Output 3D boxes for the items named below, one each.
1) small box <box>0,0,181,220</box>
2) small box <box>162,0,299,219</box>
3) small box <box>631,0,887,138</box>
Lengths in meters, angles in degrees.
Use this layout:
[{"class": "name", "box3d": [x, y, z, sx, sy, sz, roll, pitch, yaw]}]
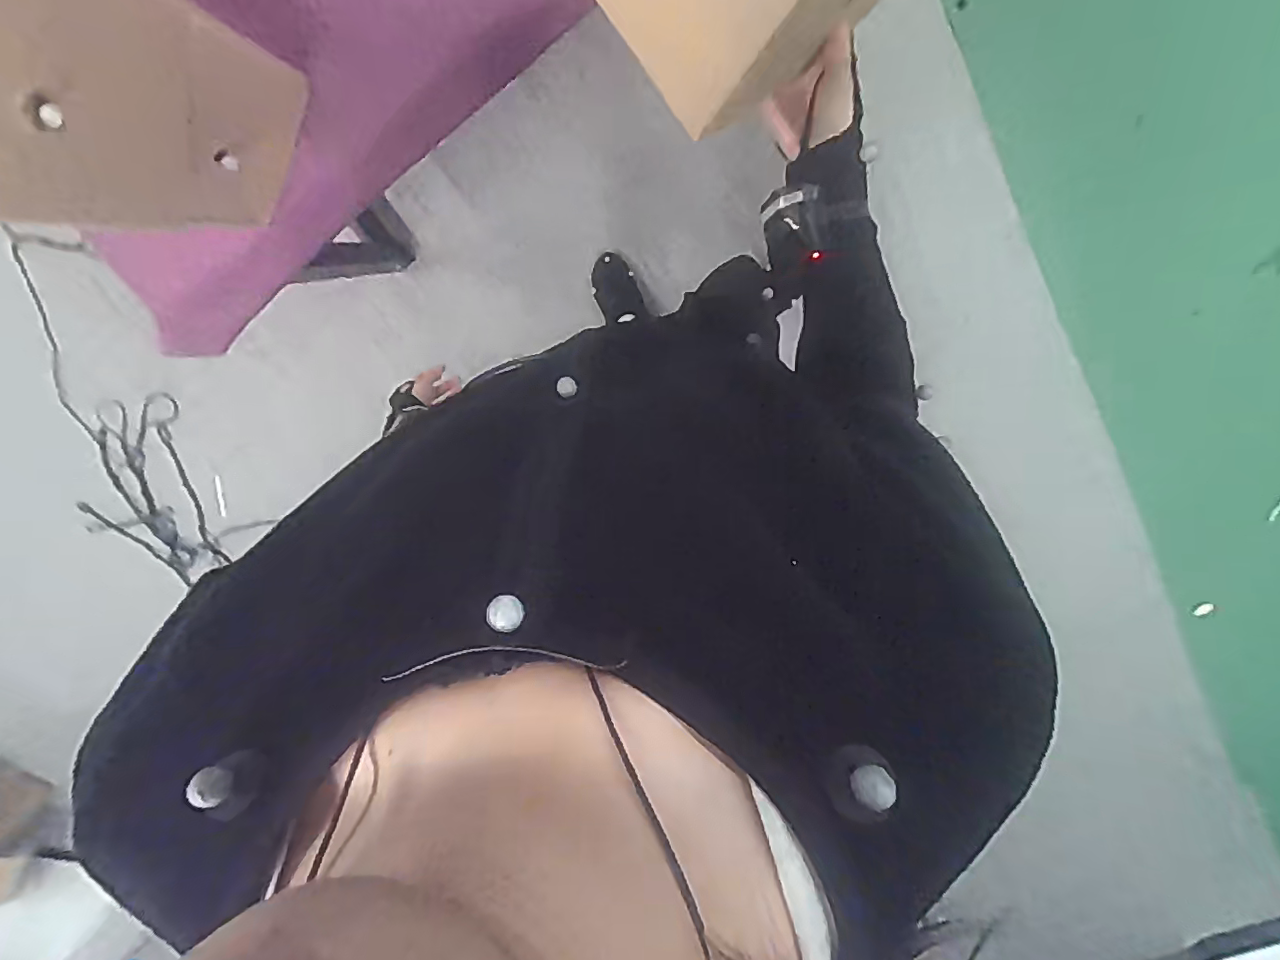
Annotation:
[{"class": "small box", "box3d": [-0.474, -0.303, 0.383, 0.168, 0.176, 0.179, 19, 111, -6]}, {"class": "small box", "box3d": [-0.477, -0.380, 0.529, 0.168, 0.176, 0.179, 30, 111, -11]}, {"class": "small box", "box3d": [0.082, -0.342, 0.286, 0.168, 0.179, 0.176, -46, 105, -24]}]
